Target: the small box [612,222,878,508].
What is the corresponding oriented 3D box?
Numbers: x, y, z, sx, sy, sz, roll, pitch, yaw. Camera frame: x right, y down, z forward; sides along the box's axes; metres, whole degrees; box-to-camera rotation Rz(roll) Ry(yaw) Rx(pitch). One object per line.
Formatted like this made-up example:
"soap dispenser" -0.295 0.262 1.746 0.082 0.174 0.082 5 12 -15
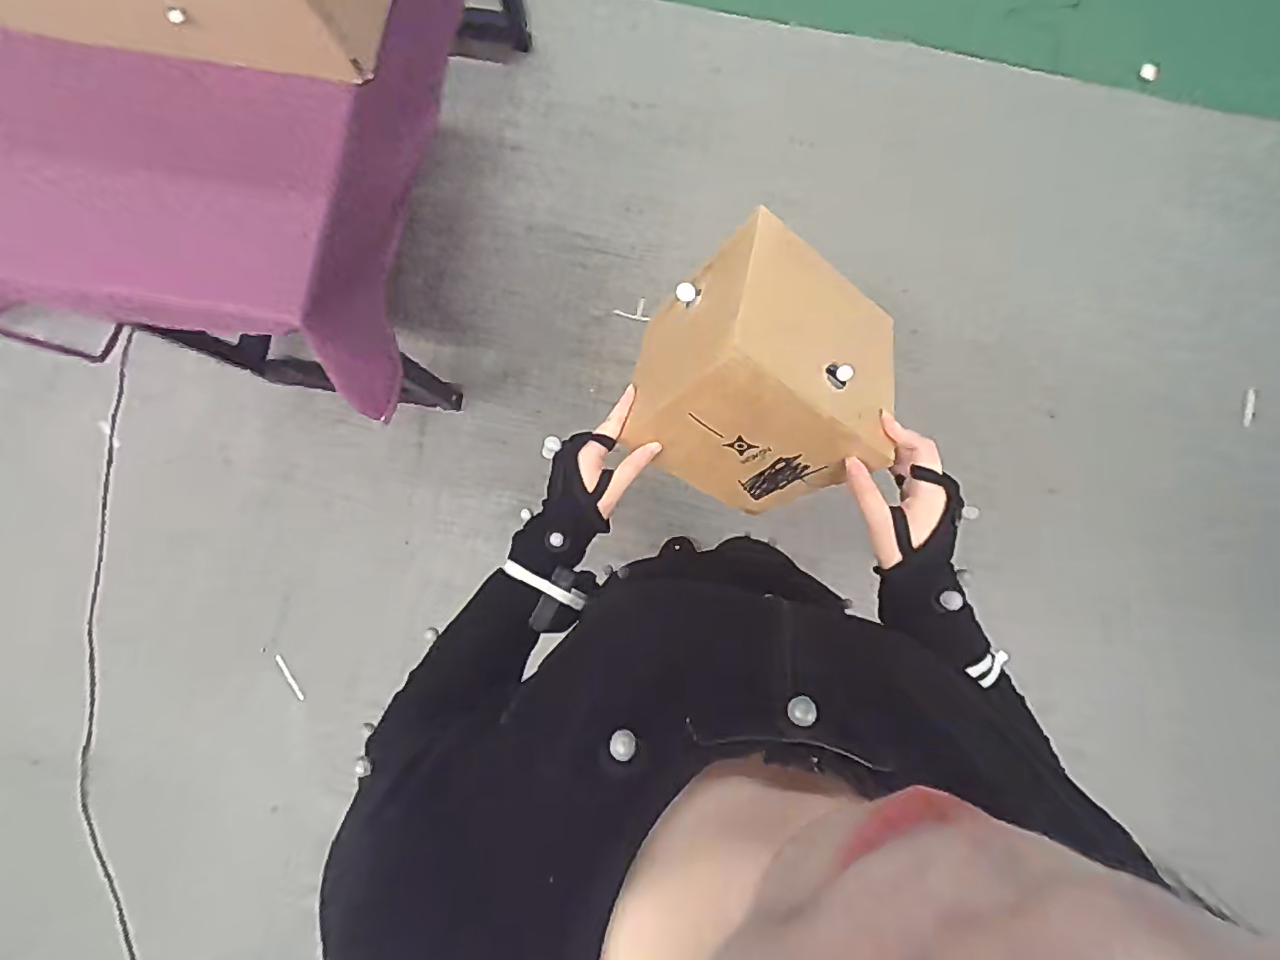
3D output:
"small box" 0.103 -0.099 0.512 0.179 0.168 0.176 28 58 -22
